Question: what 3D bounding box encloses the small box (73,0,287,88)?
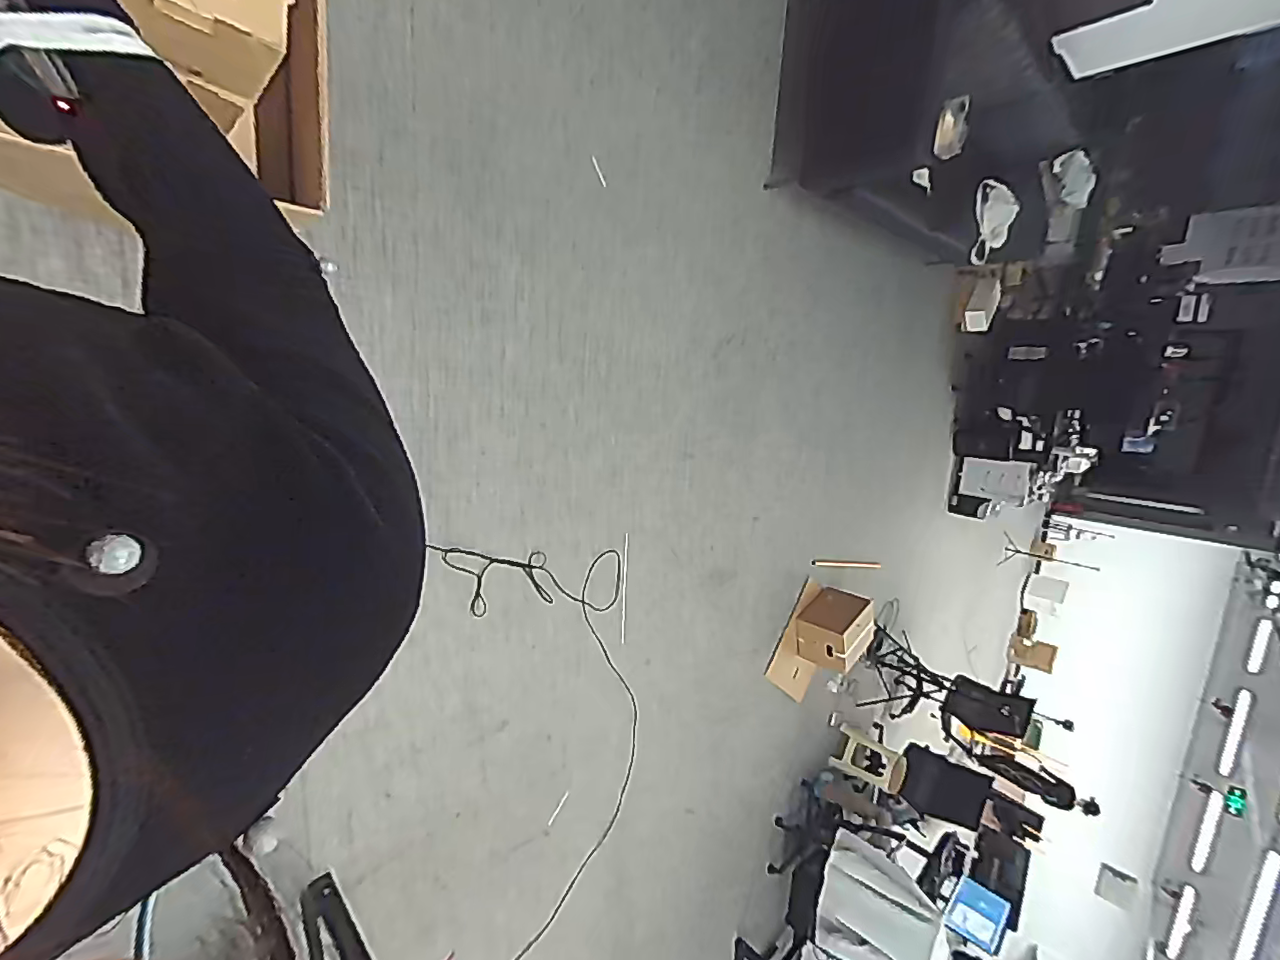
[{"bbox_3d":[-0.471,-0.549,0.551,0.168,0.176,0.179,-1,100,-44],"label":"small box"}]
